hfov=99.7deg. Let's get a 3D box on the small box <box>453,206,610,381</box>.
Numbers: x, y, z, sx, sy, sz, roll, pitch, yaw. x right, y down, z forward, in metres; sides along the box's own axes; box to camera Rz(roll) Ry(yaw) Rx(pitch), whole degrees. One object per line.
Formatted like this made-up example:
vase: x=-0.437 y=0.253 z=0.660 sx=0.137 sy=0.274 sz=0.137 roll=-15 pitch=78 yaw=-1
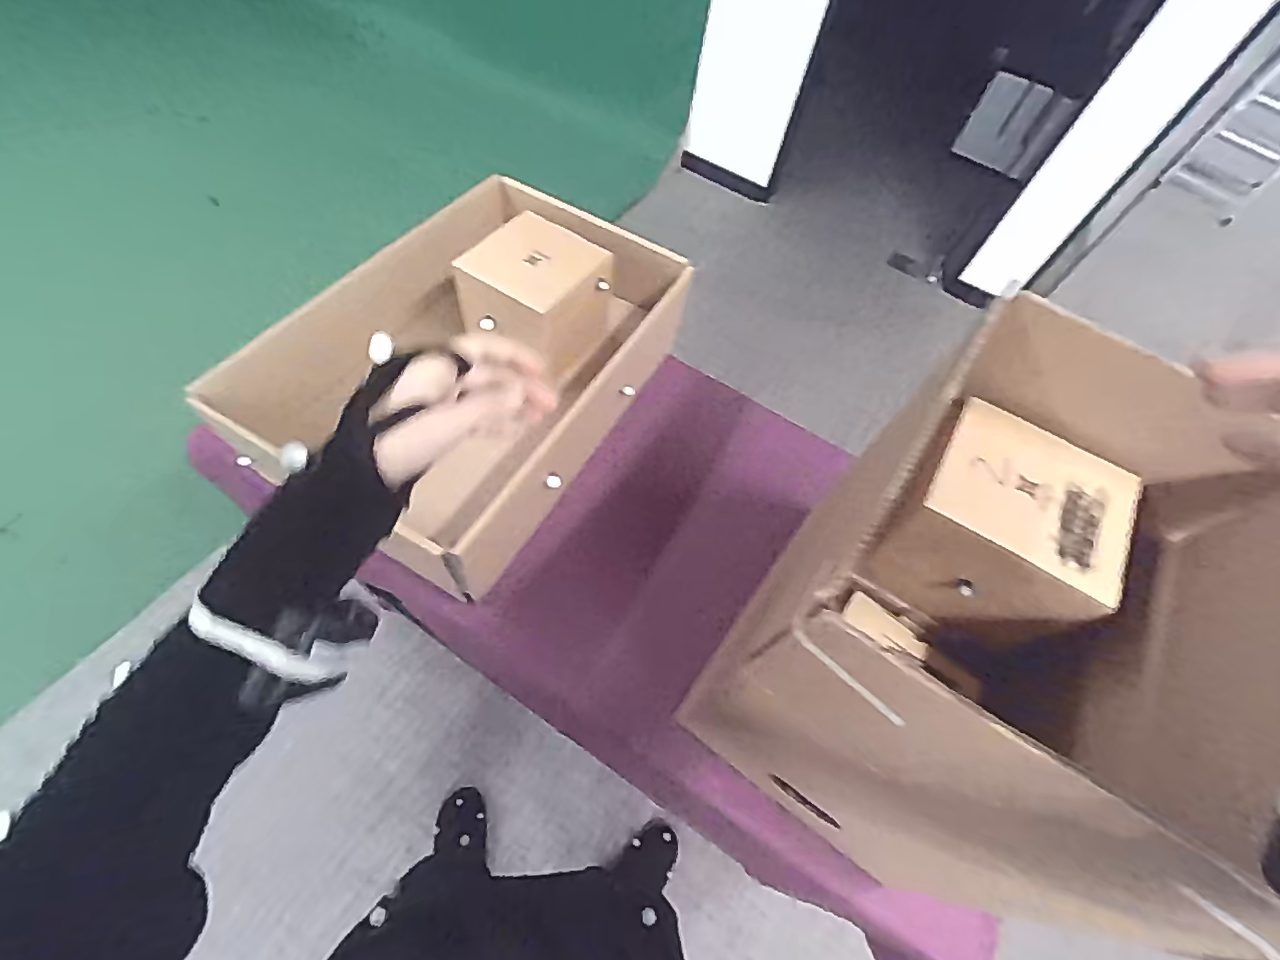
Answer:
small box: x=-0.163 y=-0.291 z=0.863 sx=0.168 sy=0.176 sz=0.179 roll=31 pitch=60 yaw=11
